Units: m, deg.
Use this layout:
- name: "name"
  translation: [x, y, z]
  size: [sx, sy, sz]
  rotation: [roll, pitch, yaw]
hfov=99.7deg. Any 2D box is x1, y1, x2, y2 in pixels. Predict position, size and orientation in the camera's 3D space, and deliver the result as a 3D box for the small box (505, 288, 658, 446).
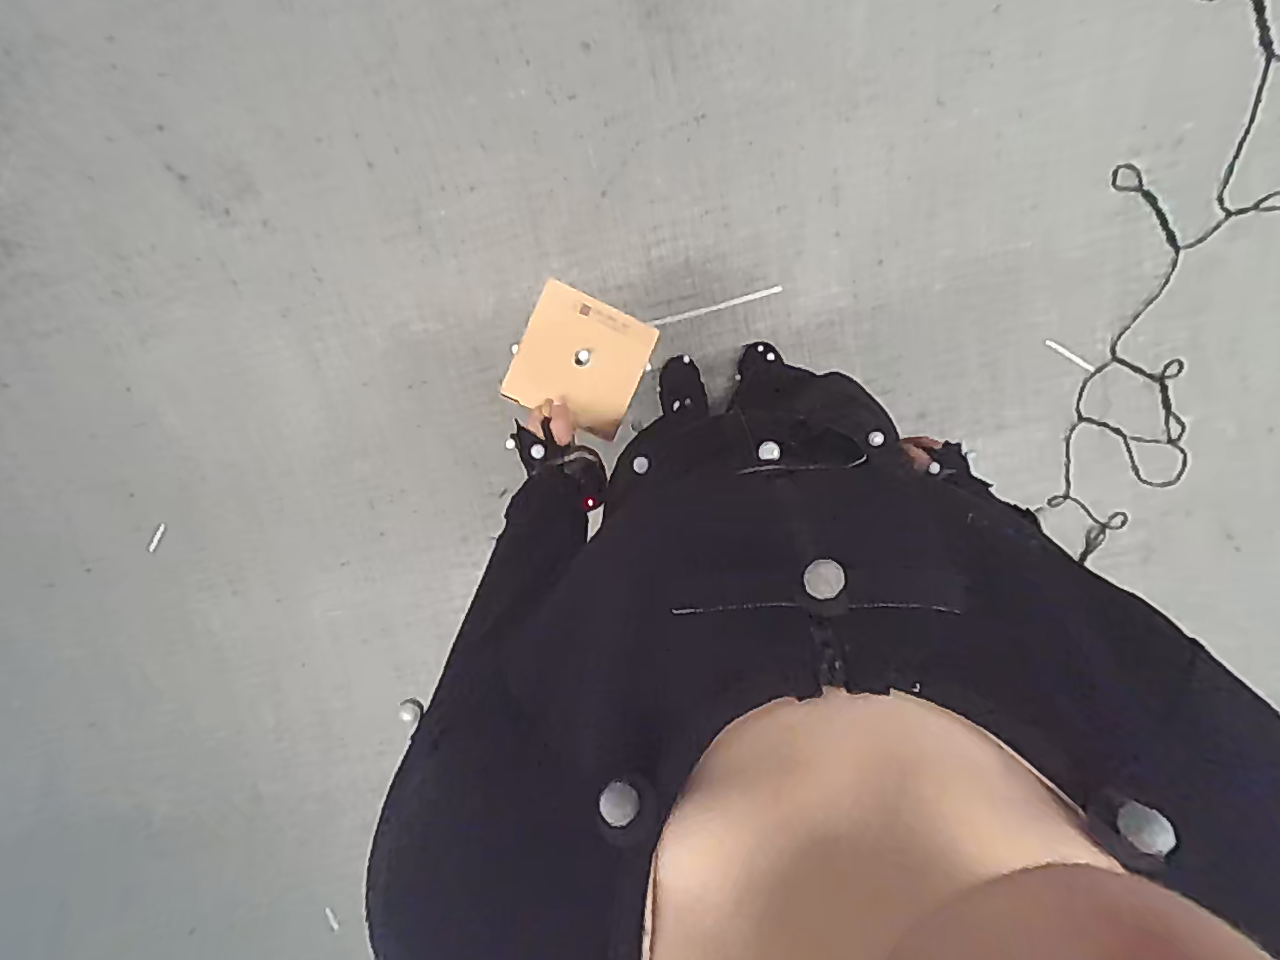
- name: "small box"
  translation: [-0.087, -0.161, 0.806]
  size: [0.168, 0.179, 0.176]
  rotation: [24, 90, -10]
